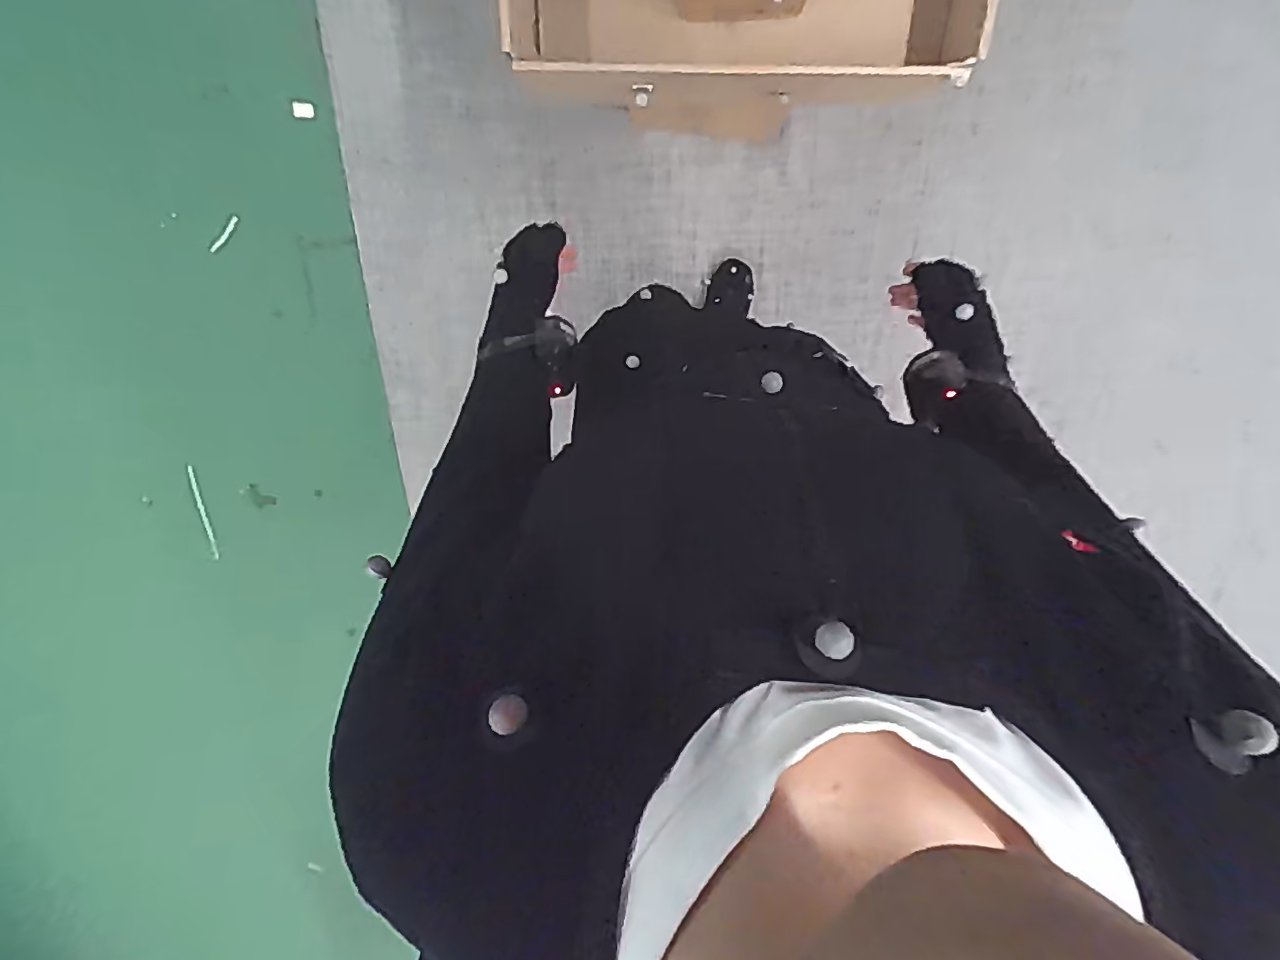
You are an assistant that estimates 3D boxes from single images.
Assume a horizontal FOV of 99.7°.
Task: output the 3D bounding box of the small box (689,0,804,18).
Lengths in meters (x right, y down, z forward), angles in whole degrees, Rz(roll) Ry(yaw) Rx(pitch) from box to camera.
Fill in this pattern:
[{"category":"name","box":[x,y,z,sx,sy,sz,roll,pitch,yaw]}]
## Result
[{"category":"small box","box":[0.147,-0.724,0.687,0.168,0.176,0.179,1,110,3]}]
